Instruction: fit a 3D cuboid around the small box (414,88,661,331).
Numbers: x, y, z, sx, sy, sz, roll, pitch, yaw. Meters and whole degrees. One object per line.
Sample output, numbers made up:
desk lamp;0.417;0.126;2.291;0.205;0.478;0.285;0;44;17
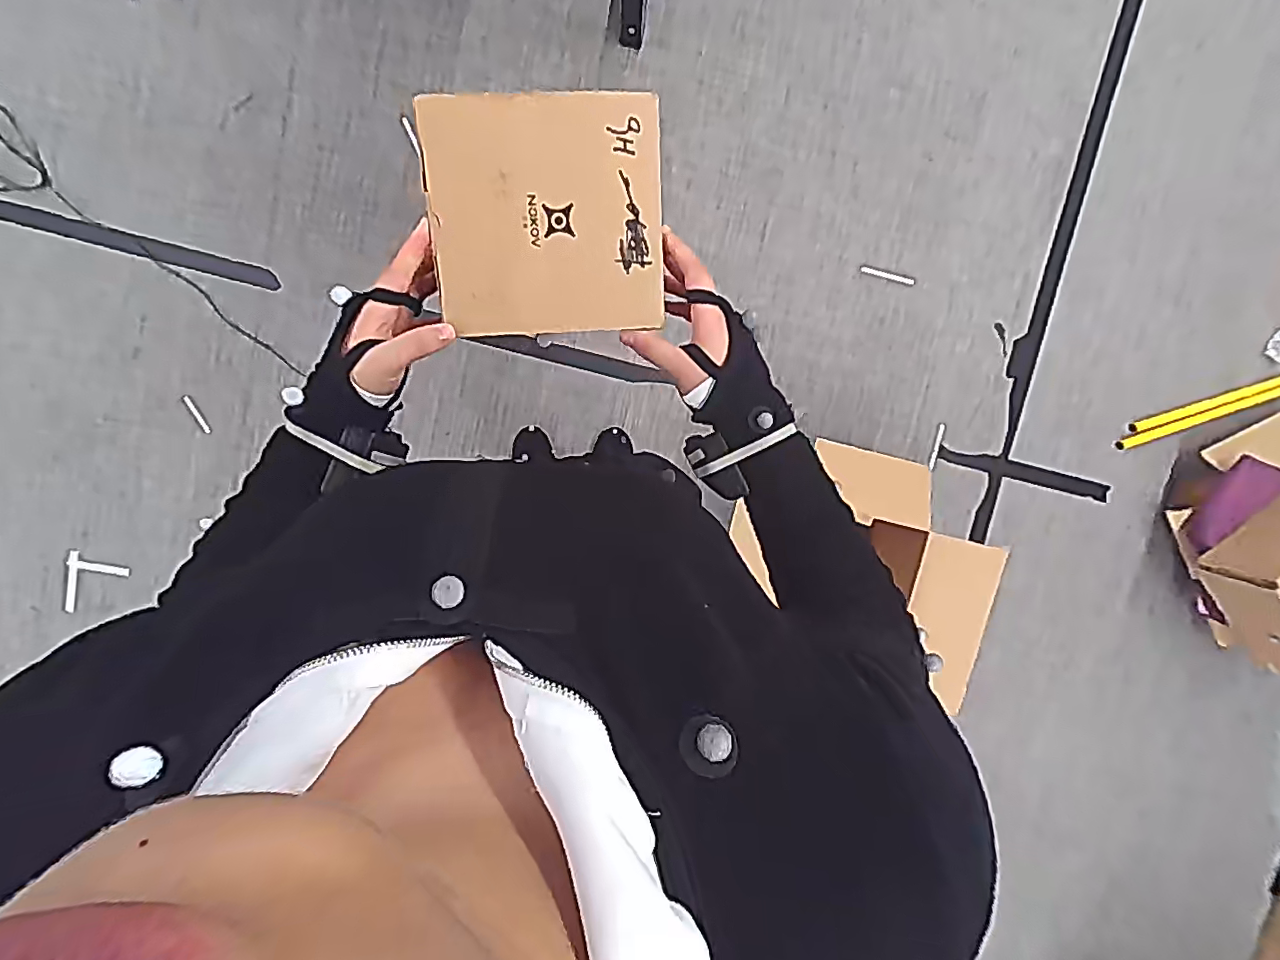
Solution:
small box;-0.077;-0.221;0.484;0.179;0.176;0.168;-4;106;-4
